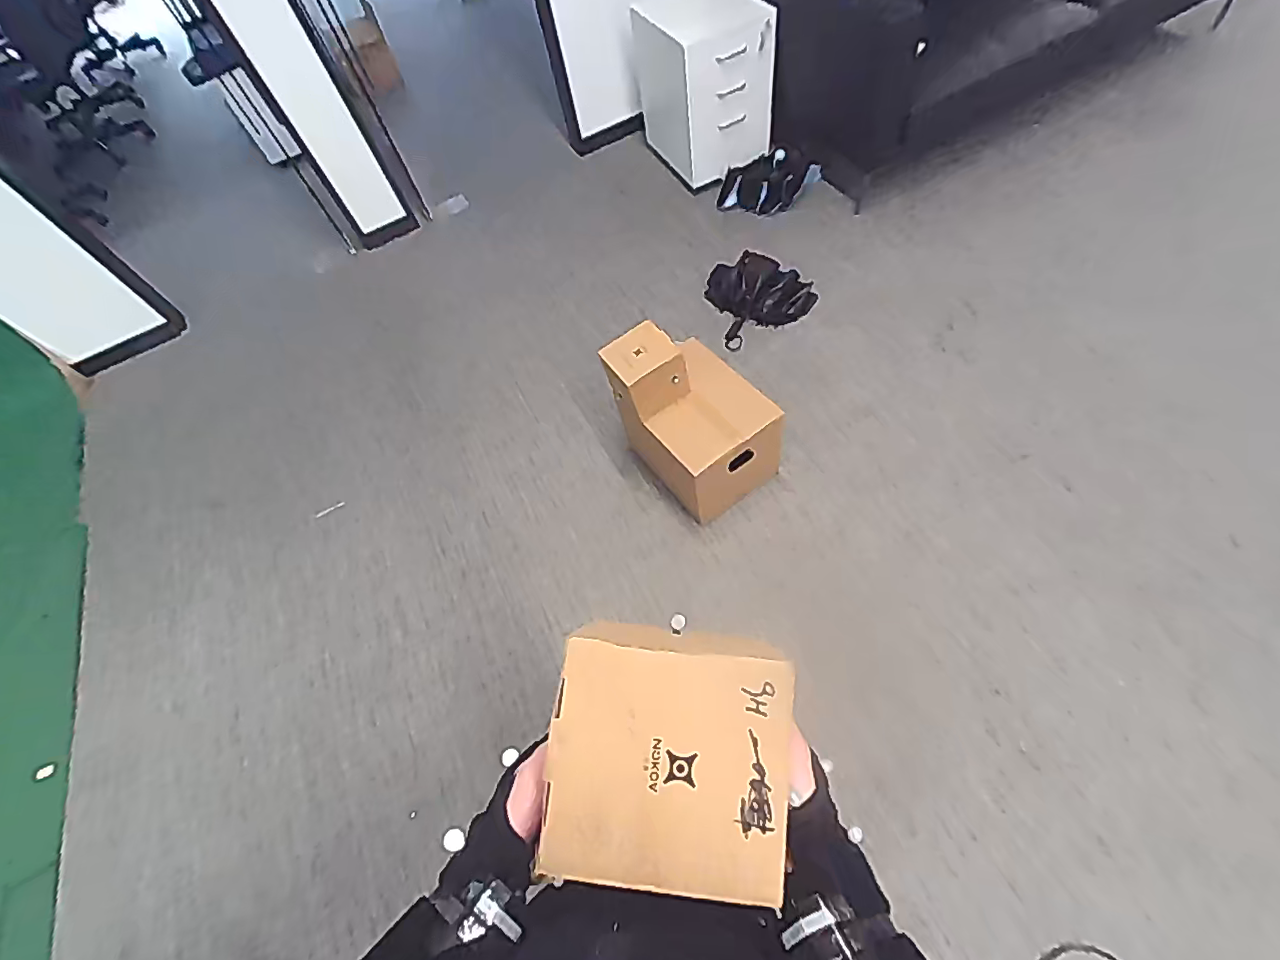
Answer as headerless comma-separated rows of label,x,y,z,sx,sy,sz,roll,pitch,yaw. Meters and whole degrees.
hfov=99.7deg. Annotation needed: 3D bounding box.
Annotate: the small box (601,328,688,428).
small box,0.021,-0.281,1.508,0.179,0.176,0.168,-35,58,-6
